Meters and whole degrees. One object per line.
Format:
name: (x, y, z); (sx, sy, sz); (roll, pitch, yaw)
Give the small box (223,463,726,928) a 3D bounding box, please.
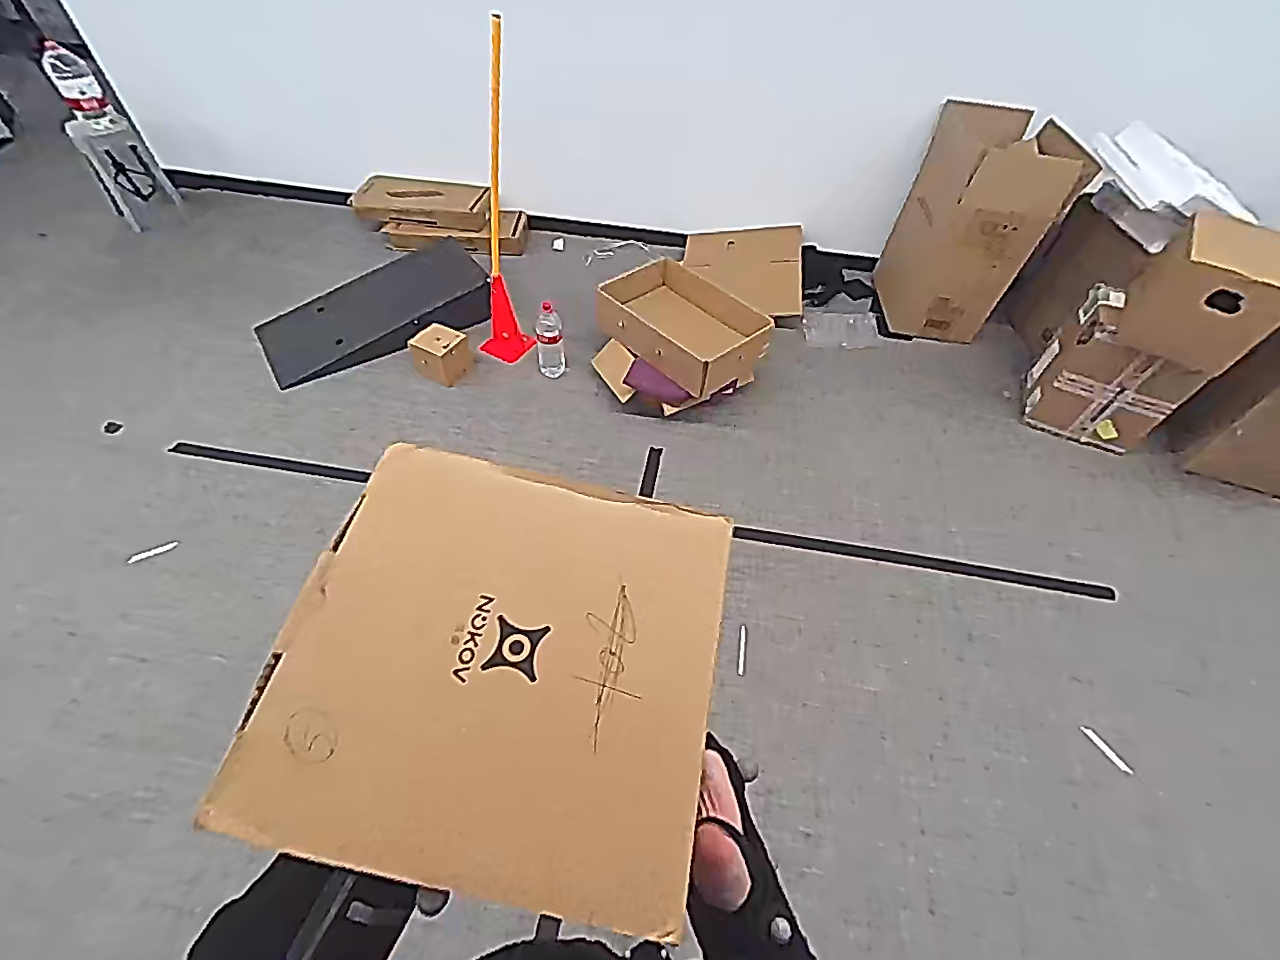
small box: (-0.063, 0.116, 0.305); (0.179, 0.176, 0.168); (12, 60, 0)
